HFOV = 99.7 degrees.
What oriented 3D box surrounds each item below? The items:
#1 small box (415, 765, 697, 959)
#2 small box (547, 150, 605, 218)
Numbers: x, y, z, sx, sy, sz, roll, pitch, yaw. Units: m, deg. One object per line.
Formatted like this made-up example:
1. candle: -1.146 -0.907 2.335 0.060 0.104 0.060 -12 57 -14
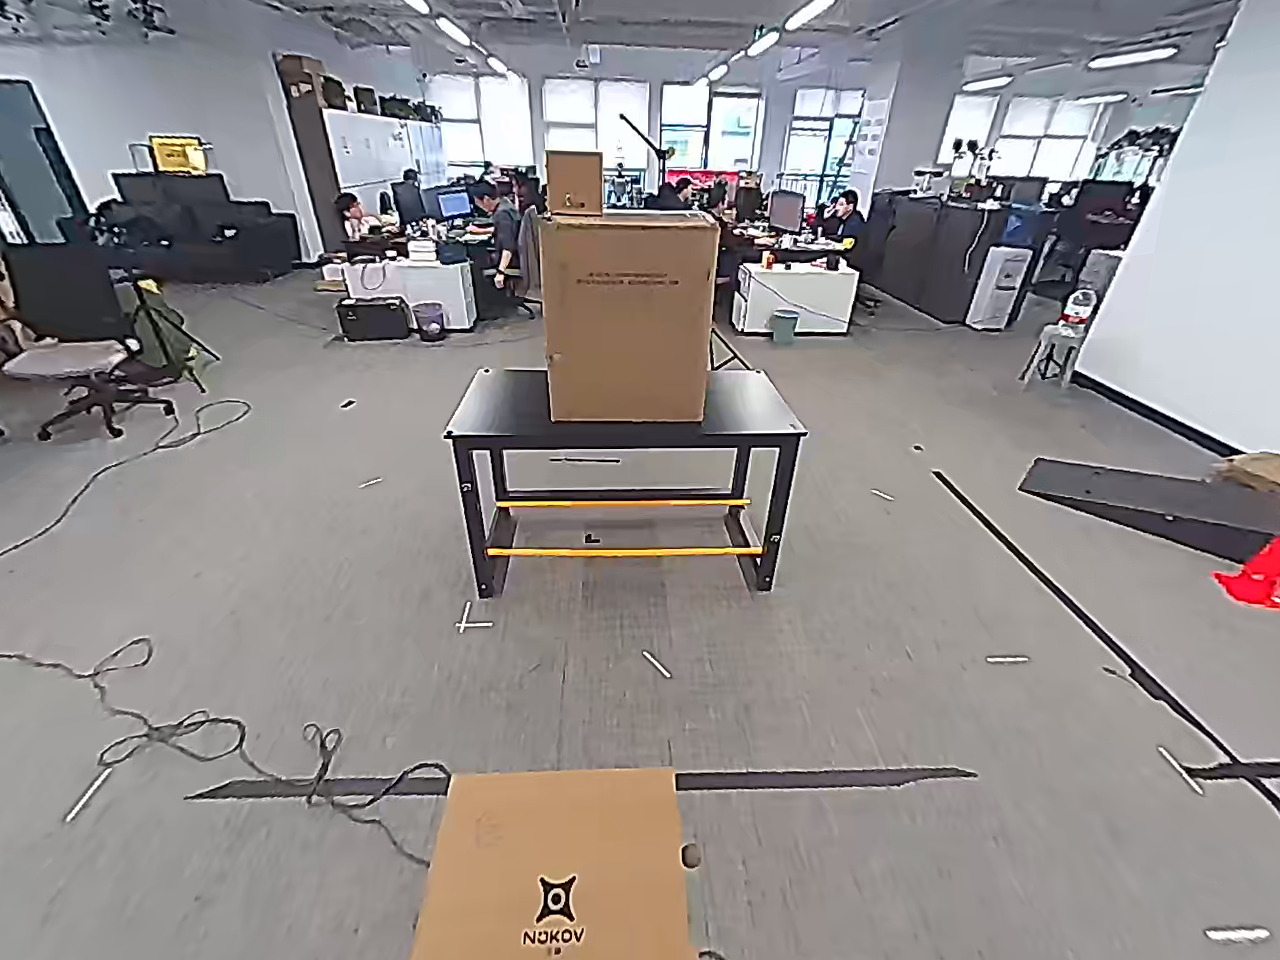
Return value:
1. small box: -0.051 0.328 0.377 0.168 0.176 0.179 -1 37 -2
2. small box: -0.192 -0.907 1.658 0.168 0.176 0.179 -1 31 -3
